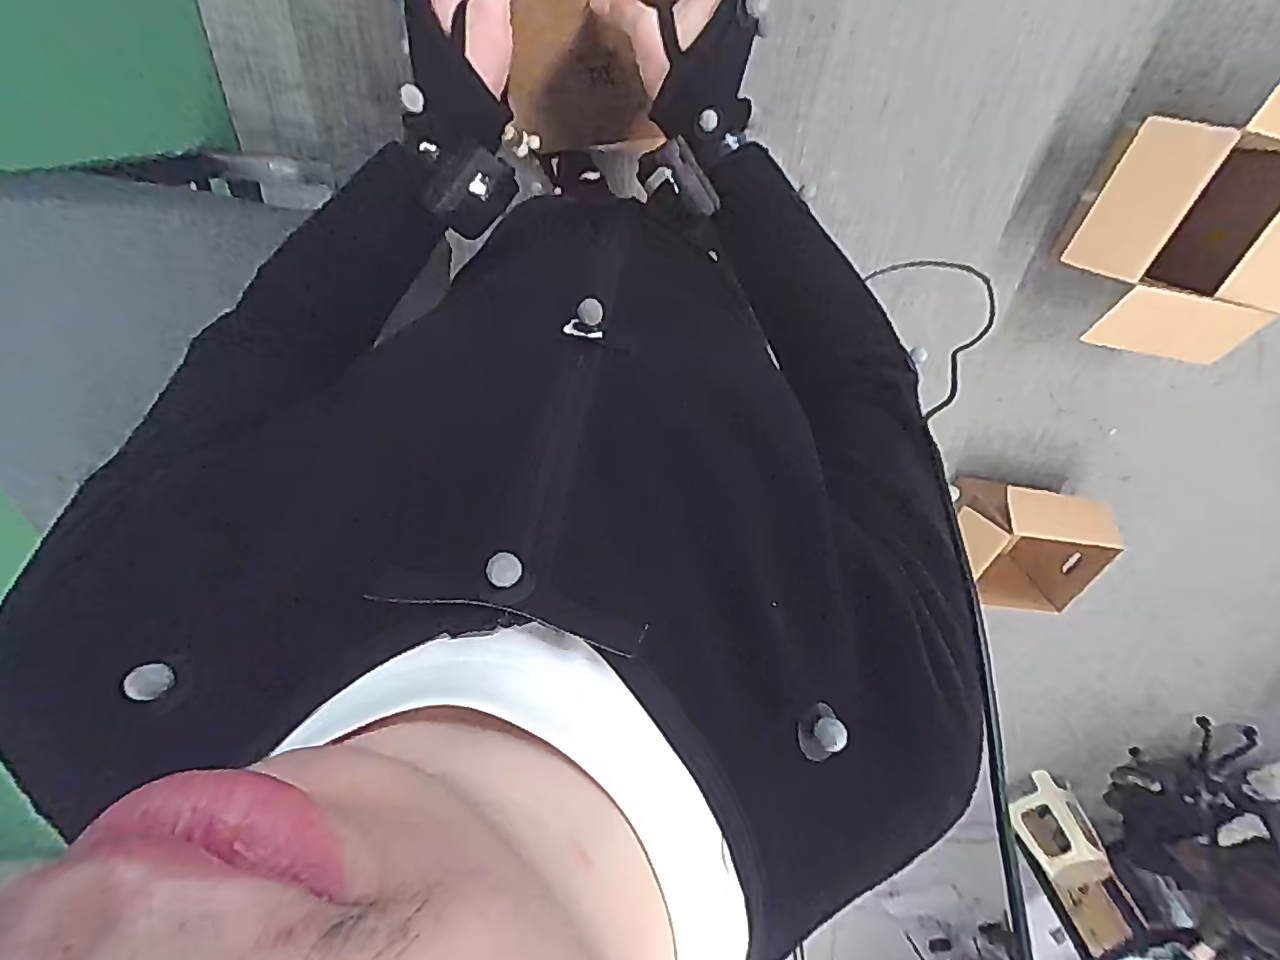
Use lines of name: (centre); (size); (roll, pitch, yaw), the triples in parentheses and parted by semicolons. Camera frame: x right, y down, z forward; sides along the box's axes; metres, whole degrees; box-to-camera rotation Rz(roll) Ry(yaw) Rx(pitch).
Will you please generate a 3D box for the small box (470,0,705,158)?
small box: (-0.034, -0.412, 0.449); (0.168, 0.179, 0.176); (-3, 87, 7)
